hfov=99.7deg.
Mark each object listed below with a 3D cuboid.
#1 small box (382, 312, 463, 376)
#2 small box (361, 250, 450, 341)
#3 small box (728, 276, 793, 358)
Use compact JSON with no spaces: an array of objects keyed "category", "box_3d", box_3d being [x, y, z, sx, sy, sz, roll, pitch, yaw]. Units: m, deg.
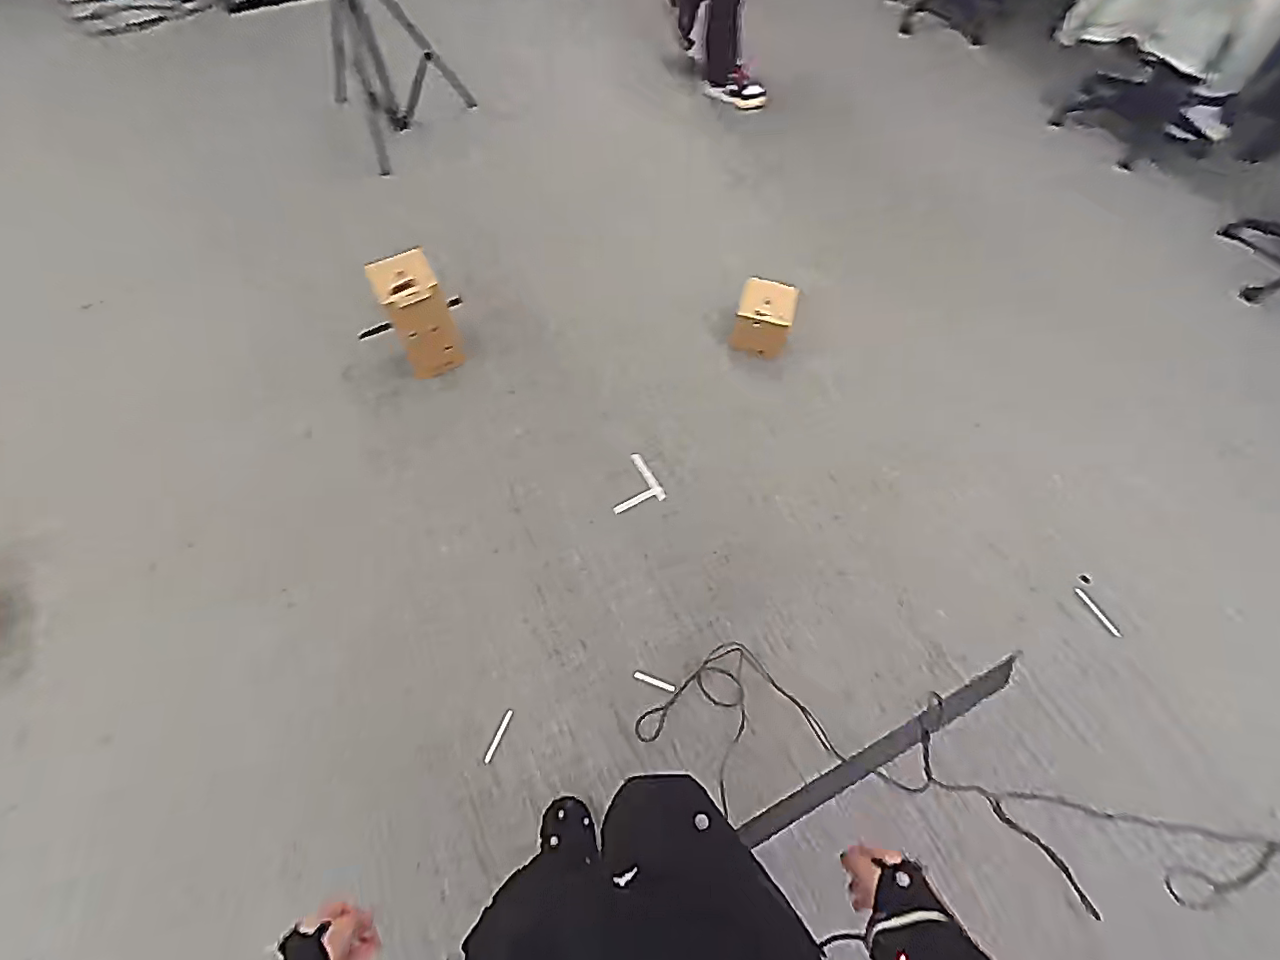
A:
[{"category":"small box","box_3d":[-0.697,-0.462,1.752,0.168,0.176,0.179,-29,66,-16]},{"category":"small box","box_3d":[-0.688,-0.539,1.606,0.168,0.176,0.179,-28,67,-15]},{"category":"small box","box_3d":[0.401,-0.545,1.819,0.168,0.176,0.179,15,64,5]}]
